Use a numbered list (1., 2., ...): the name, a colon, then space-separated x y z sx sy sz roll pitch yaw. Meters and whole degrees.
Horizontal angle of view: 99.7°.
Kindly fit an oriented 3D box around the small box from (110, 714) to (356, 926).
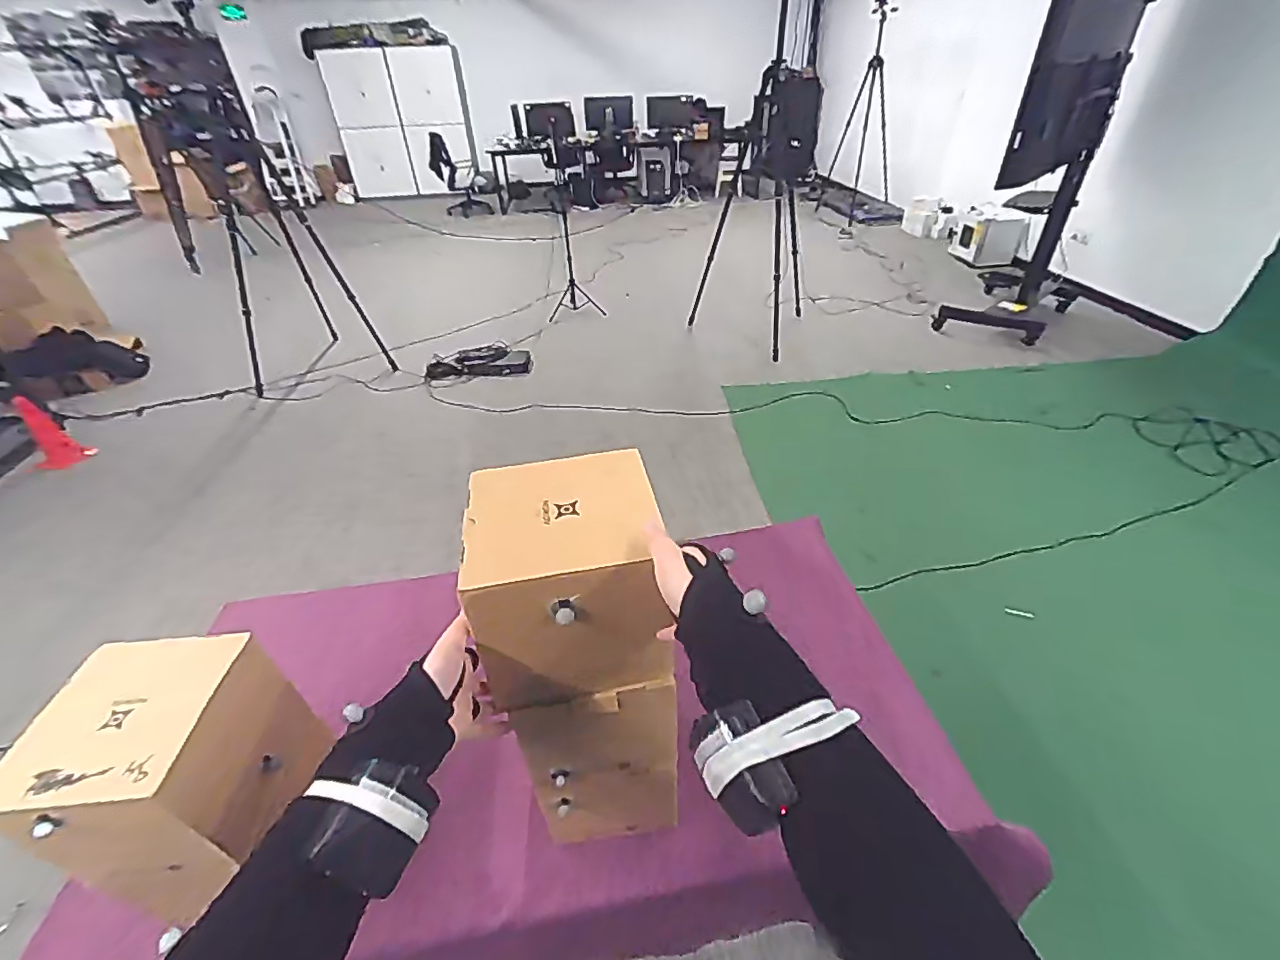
1. small box: -0.488 0.426 0.683 0.168 0.176 0.179 -5 38 -1

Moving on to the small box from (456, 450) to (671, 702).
1. small box: -0.069 0.094 0.543 0.179 0.176 0.168 -10 37 -6

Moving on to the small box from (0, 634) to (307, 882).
1. small box: -0.497 0.295 0.583 0.168 0.176 0.179 -6 36 0

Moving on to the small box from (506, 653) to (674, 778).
1. small box: -0.056 0.225 0.639 0.168 0.176 0.179 -8 36 -6
